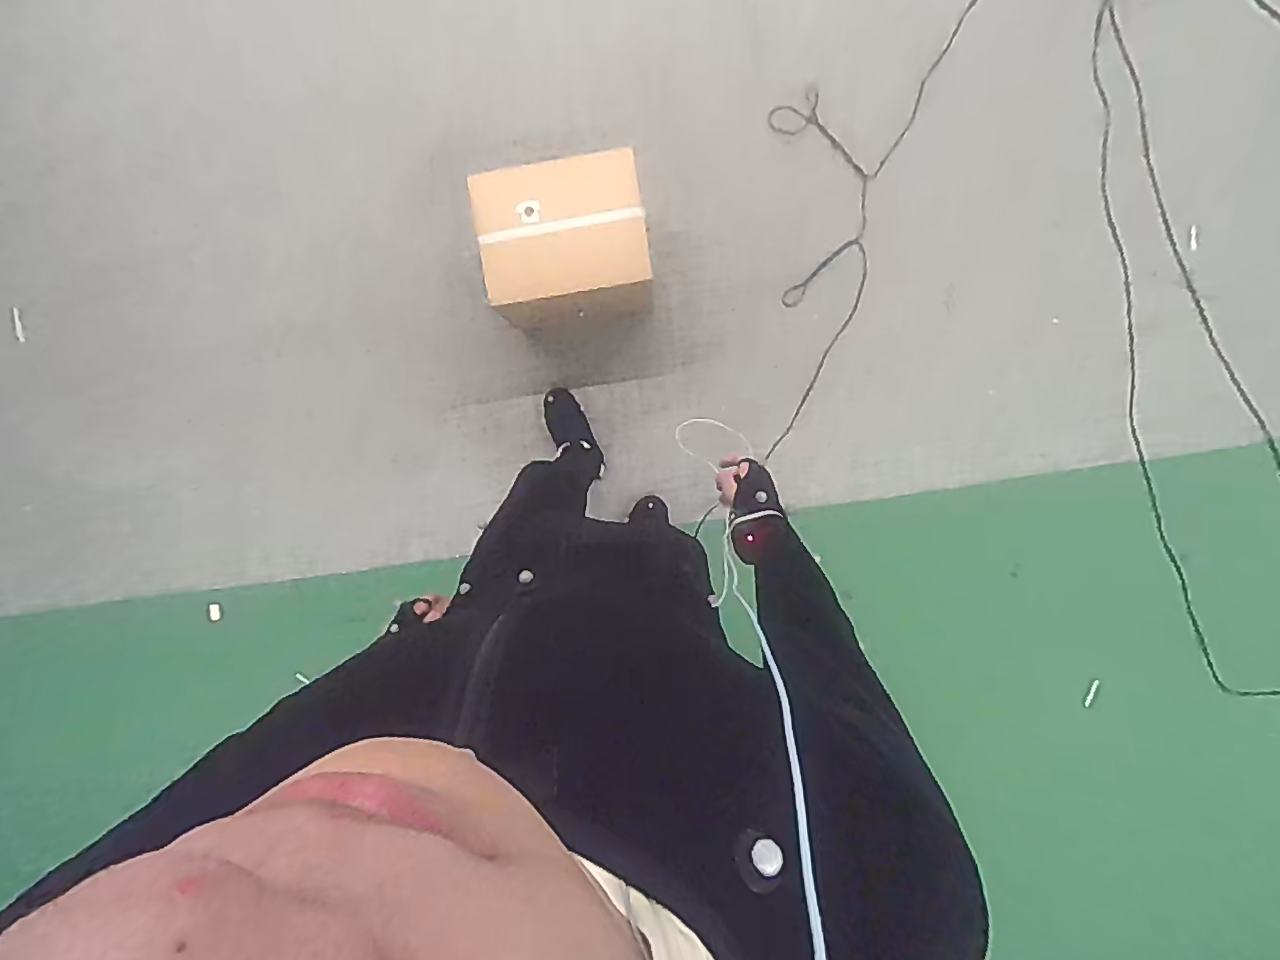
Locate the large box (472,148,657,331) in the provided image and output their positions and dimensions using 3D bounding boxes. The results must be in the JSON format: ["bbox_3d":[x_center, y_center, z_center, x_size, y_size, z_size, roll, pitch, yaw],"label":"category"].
[{"bbox_3d":[-0.177,-0.613,1.445,0.408,0.320,0.320,-10,93,3],"label":"large box"}]
